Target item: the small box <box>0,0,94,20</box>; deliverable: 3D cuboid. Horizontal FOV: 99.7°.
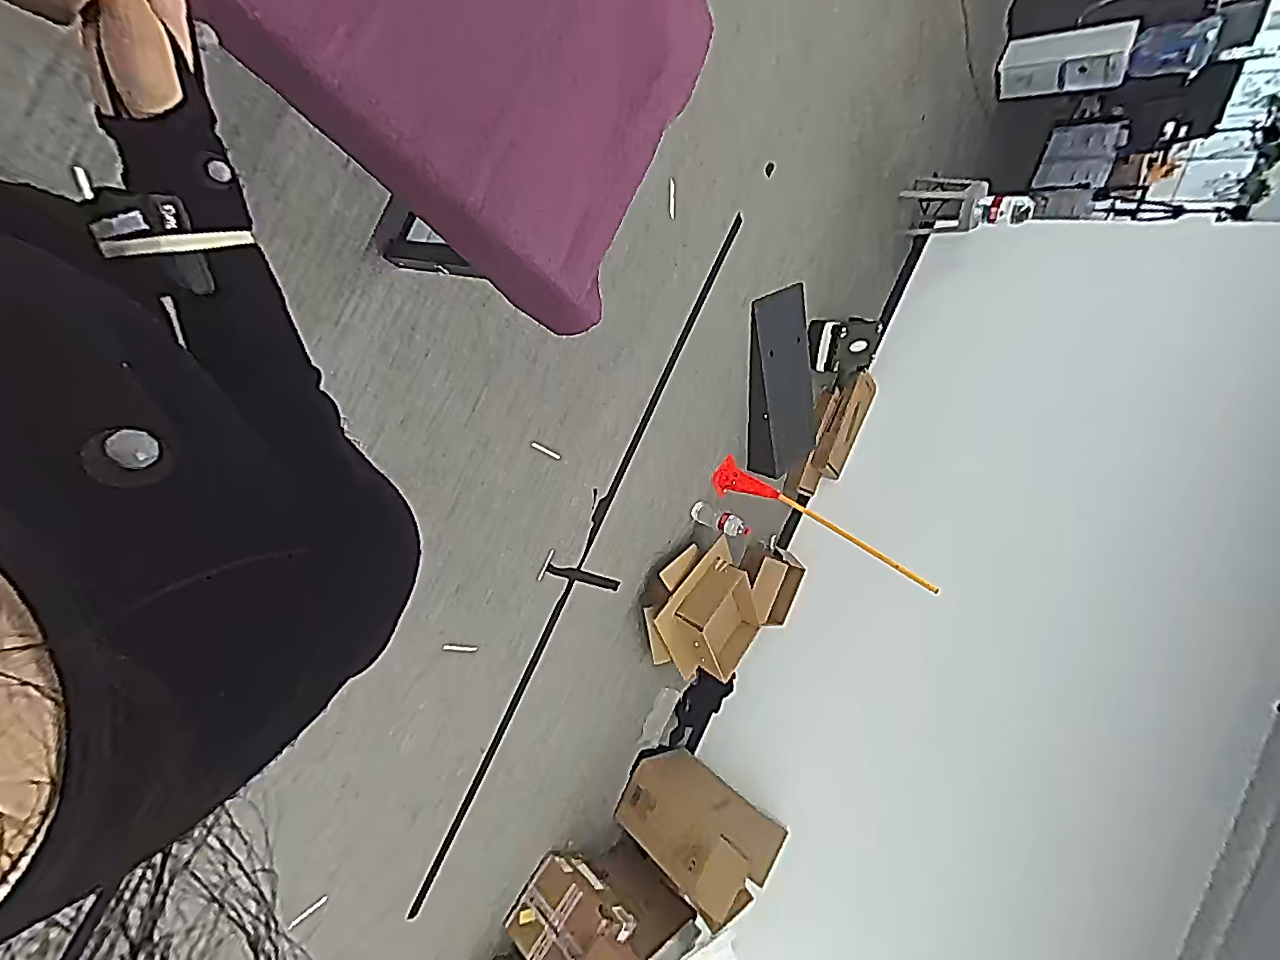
[{"bbox_3d":[-0.336,-0.330,0.216,0.168,0.176,0.179,-3,117,-49],"label":"small box"}]
